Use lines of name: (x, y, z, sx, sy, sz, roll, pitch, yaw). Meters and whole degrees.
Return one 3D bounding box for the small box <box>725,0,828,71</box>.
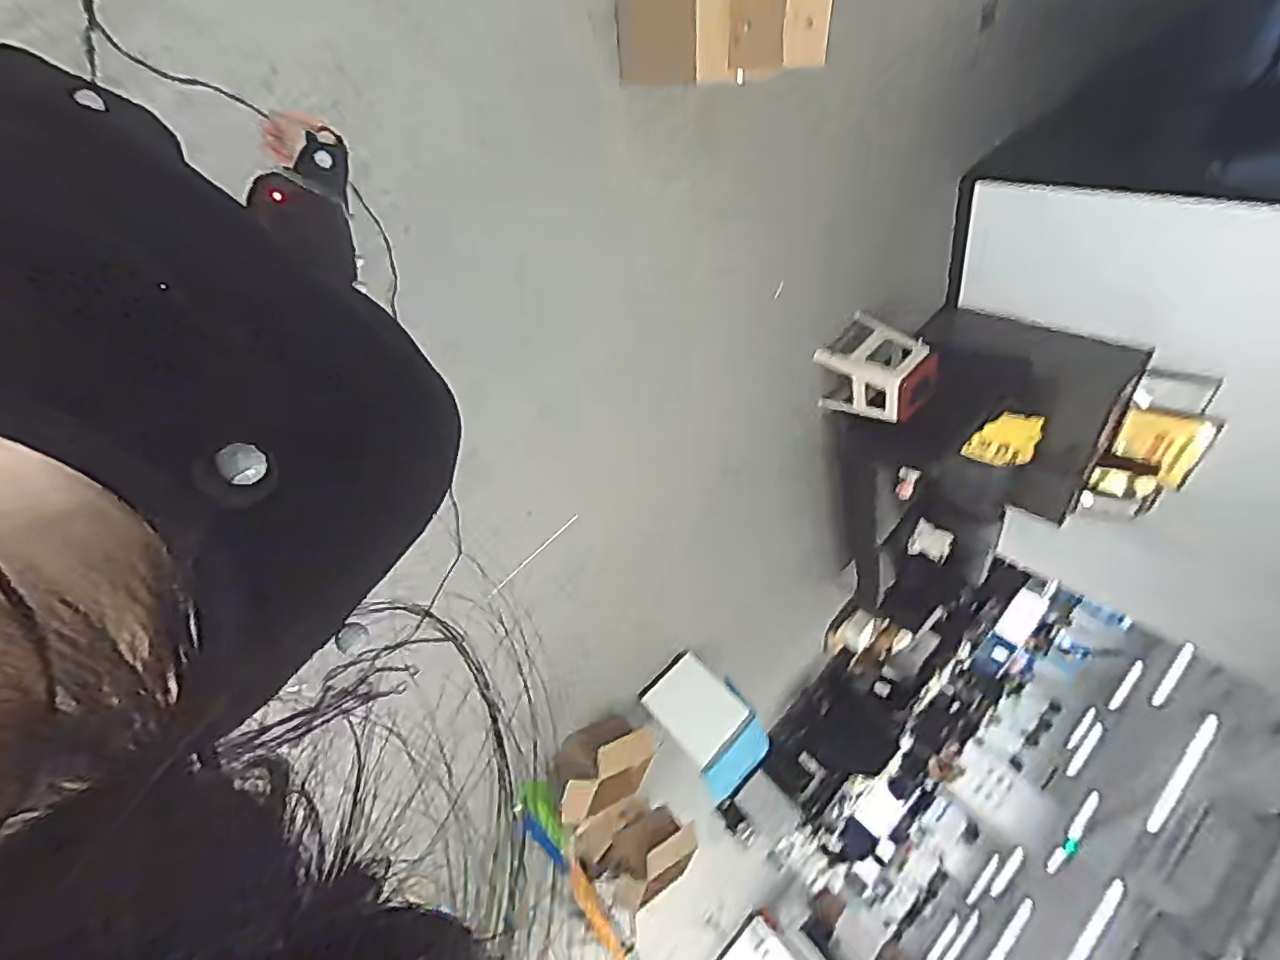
small box: (0.332, -1.108, 1.318, 0.179, 0.176, 0.168, -30, 133, -30)
